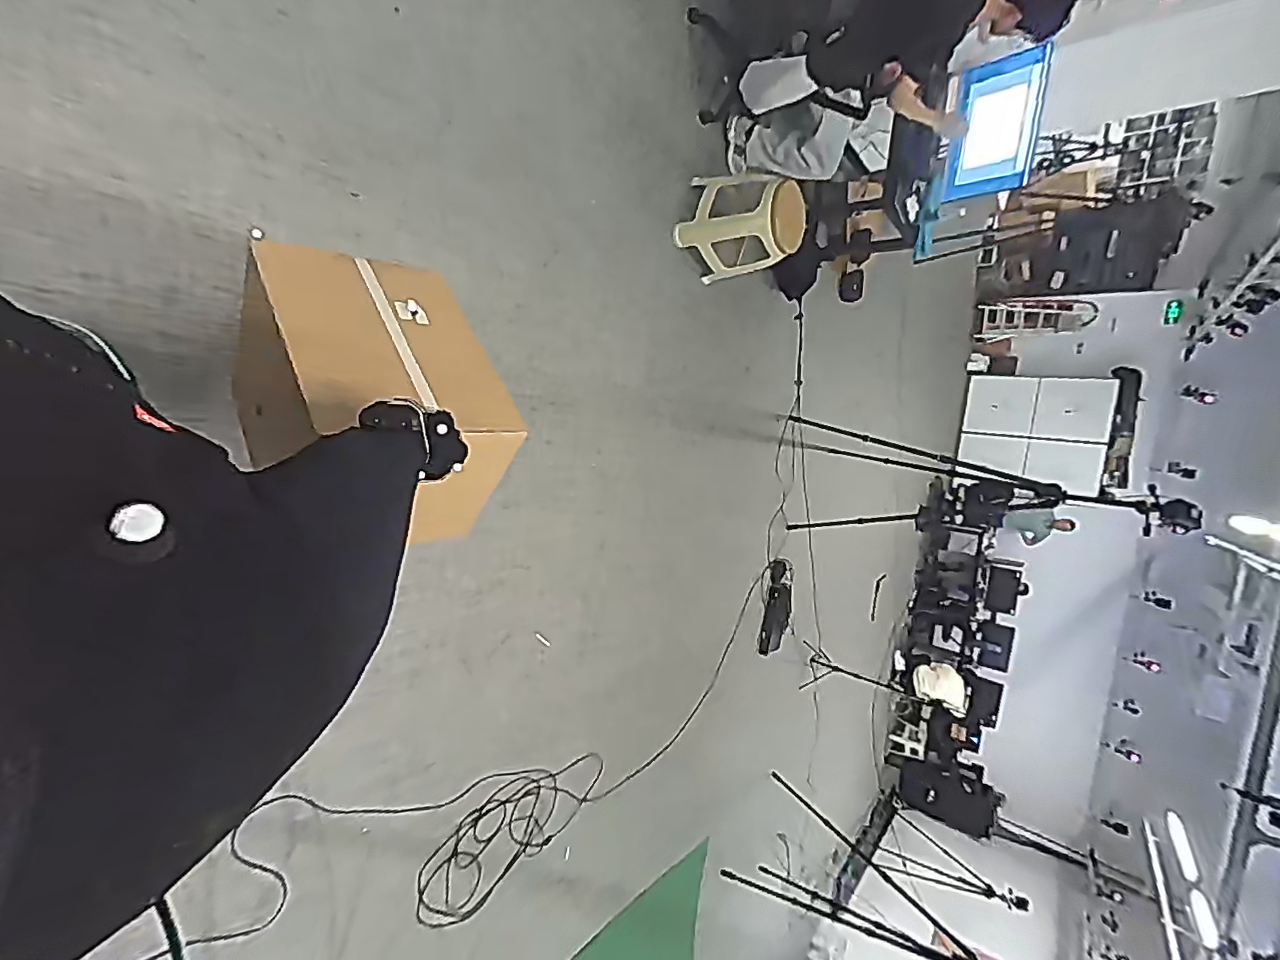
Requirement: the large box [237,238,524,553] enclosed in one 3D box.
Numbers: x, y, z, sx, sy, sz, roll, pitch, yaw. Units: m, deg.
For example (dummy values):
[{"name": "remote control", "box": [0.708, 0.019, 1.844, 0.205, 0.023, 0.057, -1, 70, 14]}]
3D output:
[{"name": "large box", "box": [-0.470, -0.139, 0.947, 0.320, 0.408, 0.320, -6, 145, -46]}]
